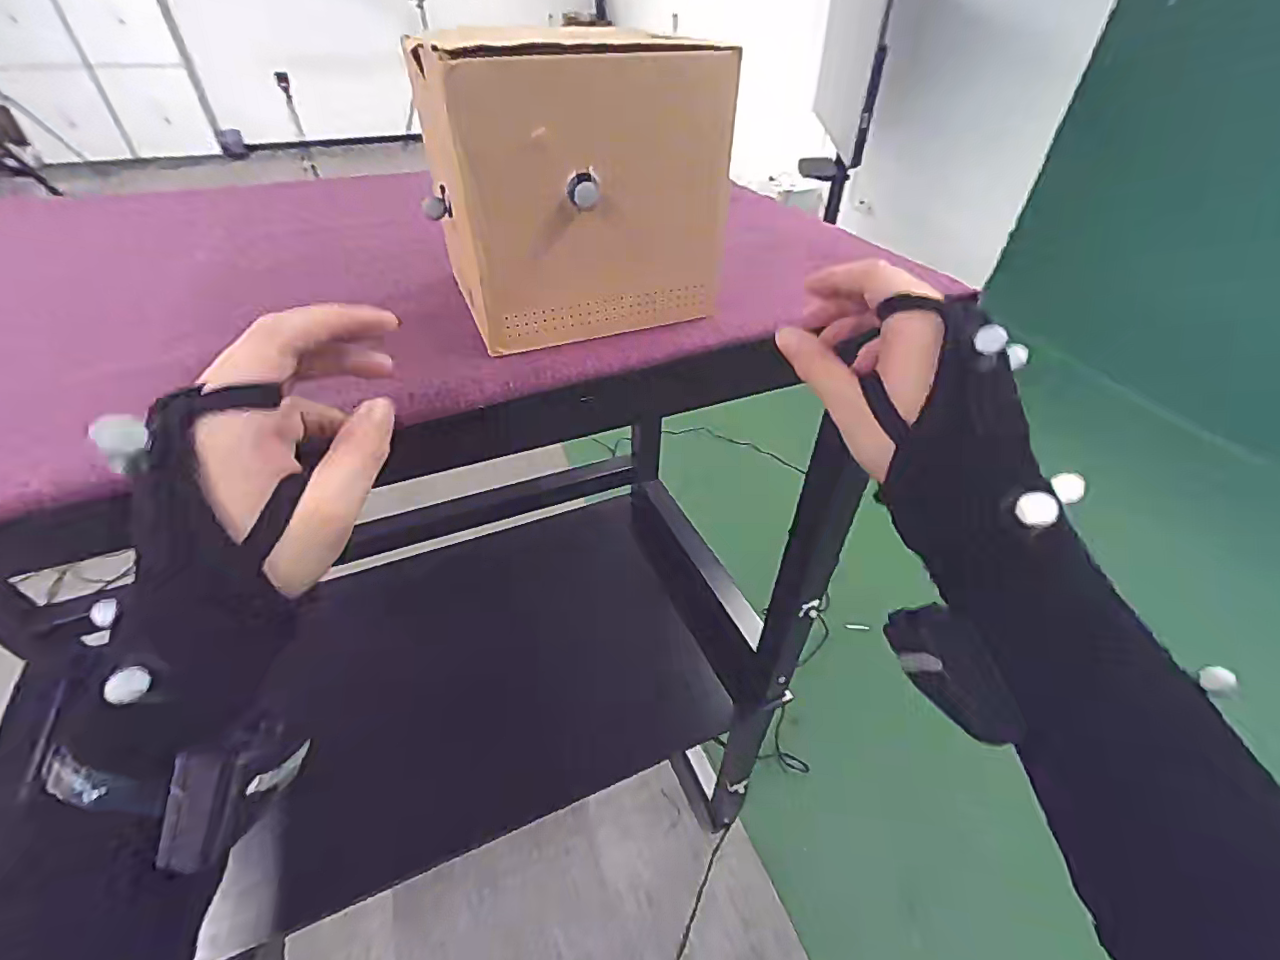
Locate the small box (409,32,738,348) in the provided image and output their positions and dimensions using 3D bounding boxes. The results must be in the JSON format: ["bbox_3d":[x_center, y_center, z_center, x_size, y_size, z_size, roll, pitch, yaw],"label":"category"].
[{"bbox_3d":[-0.049,-0.215,0.398,0.179,0.176,0.168,-16,45,-17],"label":"small box"}]
